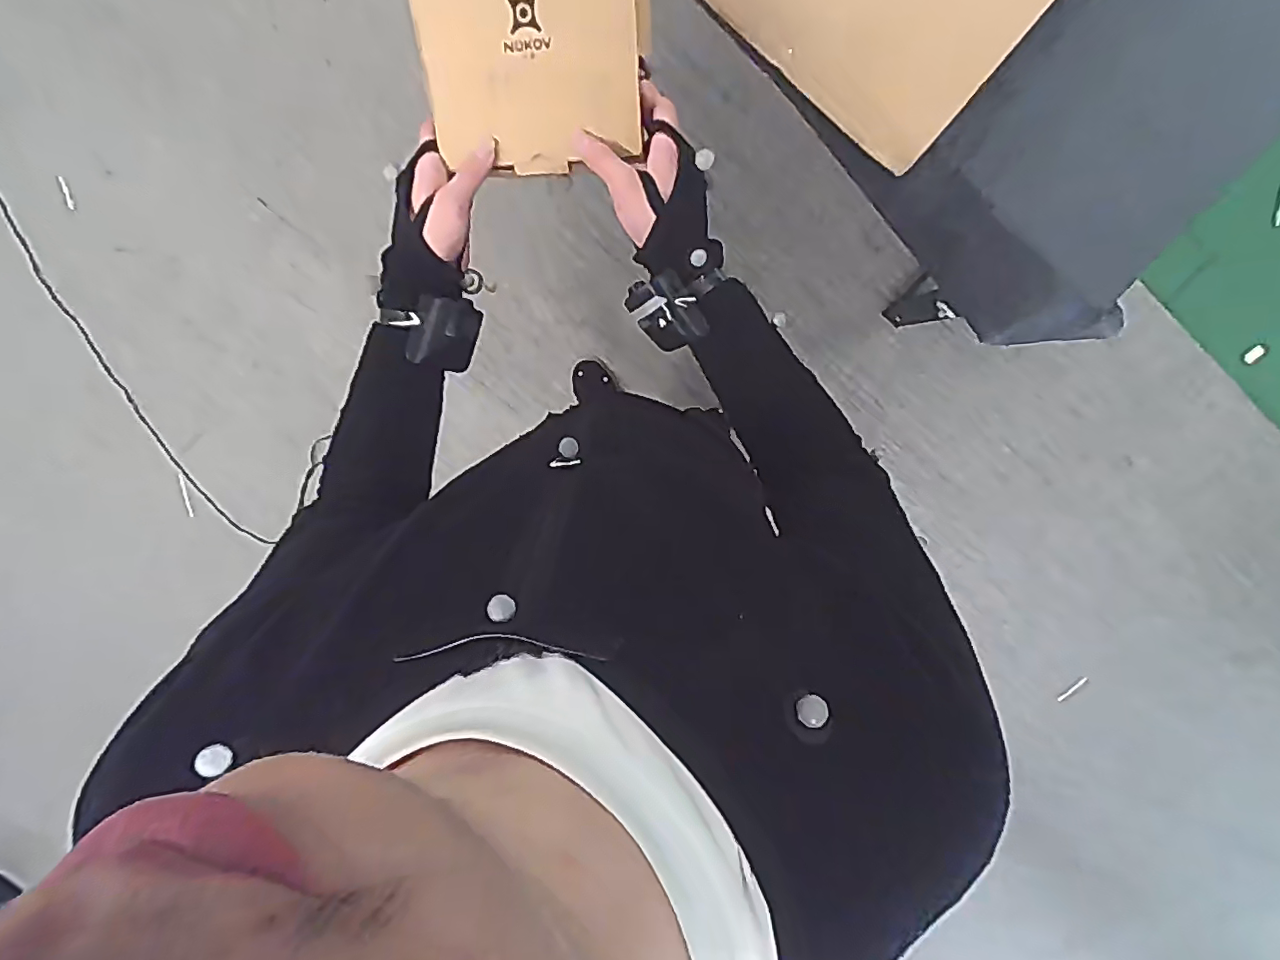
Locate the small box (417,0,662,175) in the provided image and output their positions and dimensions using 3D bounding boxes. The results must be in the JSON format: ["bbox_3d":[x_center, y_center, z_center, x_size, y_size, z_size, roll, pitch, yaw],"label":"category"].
[{"bbox_3d":[-0.073,-0.372,0.469,0.168,0.176,0.179,-3,117,8],"label":"small box"}]
